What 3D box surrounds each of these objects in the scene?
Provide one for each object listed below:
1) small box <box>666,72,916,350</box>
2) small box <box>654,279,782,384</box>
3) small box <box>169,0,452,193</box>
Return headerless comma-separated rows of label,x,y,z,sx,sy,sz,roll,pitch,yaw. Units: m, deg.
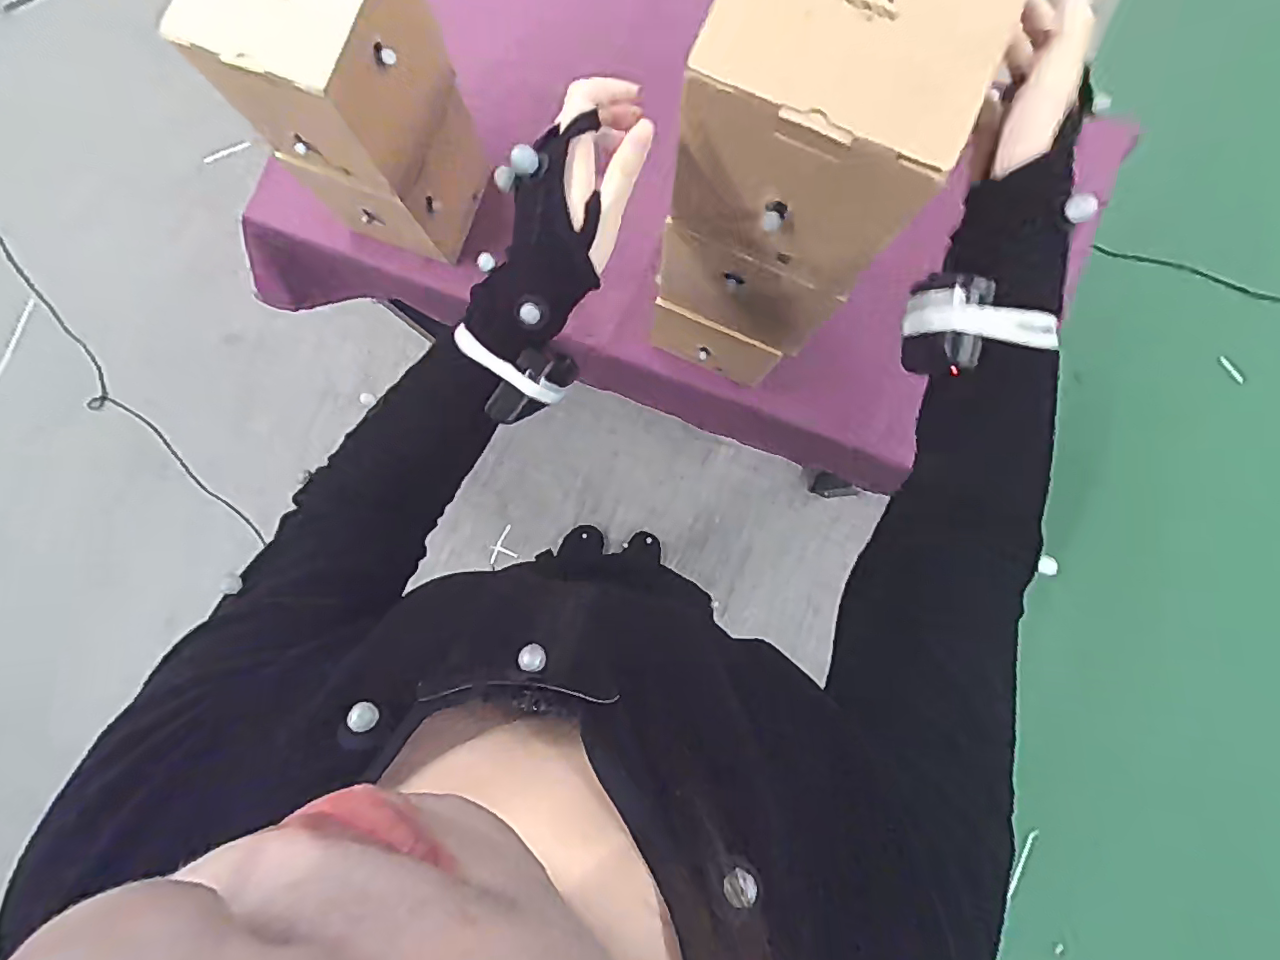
small box,0.137,-0.257,0.563,0.179,0.176,0.168,25,87,0
small box,0.127,-0.249,0.728,0.168,0.176,0.179,25,87,1
small box,-0.321,-0.452,0.572,0.168,0.176,0.179,22,88,1
